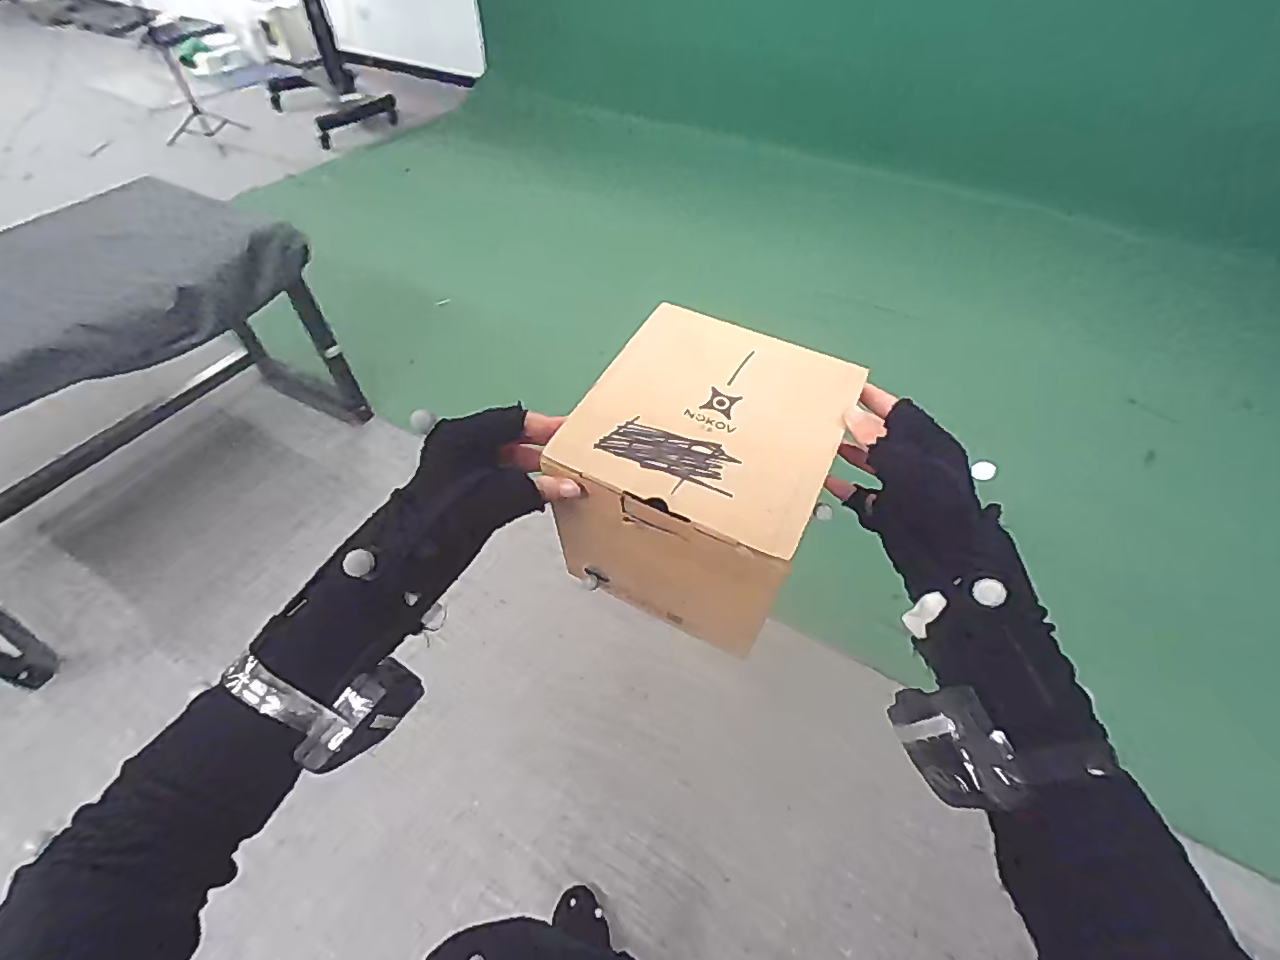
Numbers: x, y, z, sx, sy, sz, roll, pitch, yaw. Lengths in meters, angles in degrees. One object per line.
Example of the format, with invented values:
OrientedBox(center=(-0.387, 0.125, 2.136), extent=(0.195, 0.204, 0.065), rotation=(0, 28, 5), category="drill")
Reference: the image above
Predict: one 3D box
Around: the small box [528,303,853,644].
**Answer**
OrientedBox(center=(0.040, -0.001, 0.425), extent=(0.168, 0.176, 0.179), rotation=(24, 57, 16), category="small box")
